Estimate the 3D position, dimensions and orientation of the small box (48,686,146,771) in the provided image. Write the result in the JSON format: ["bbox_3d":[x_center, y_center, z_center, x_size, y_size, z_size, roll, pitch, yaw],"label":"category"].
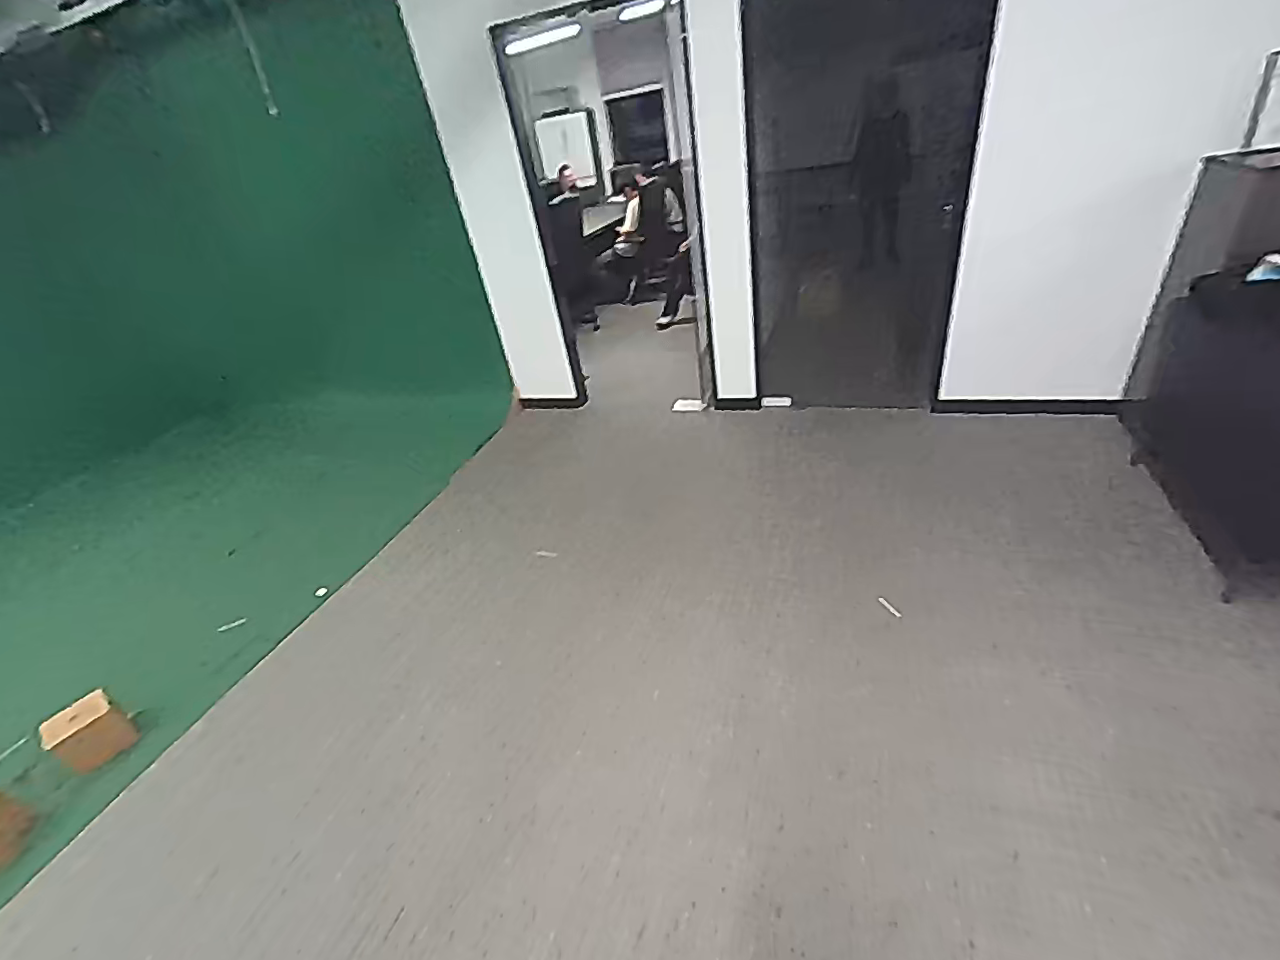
[{"bbox_3d":[-1.888,0.866,1.883,0.168,0.176,0.179,18,41,36],"label":"small box"}]
